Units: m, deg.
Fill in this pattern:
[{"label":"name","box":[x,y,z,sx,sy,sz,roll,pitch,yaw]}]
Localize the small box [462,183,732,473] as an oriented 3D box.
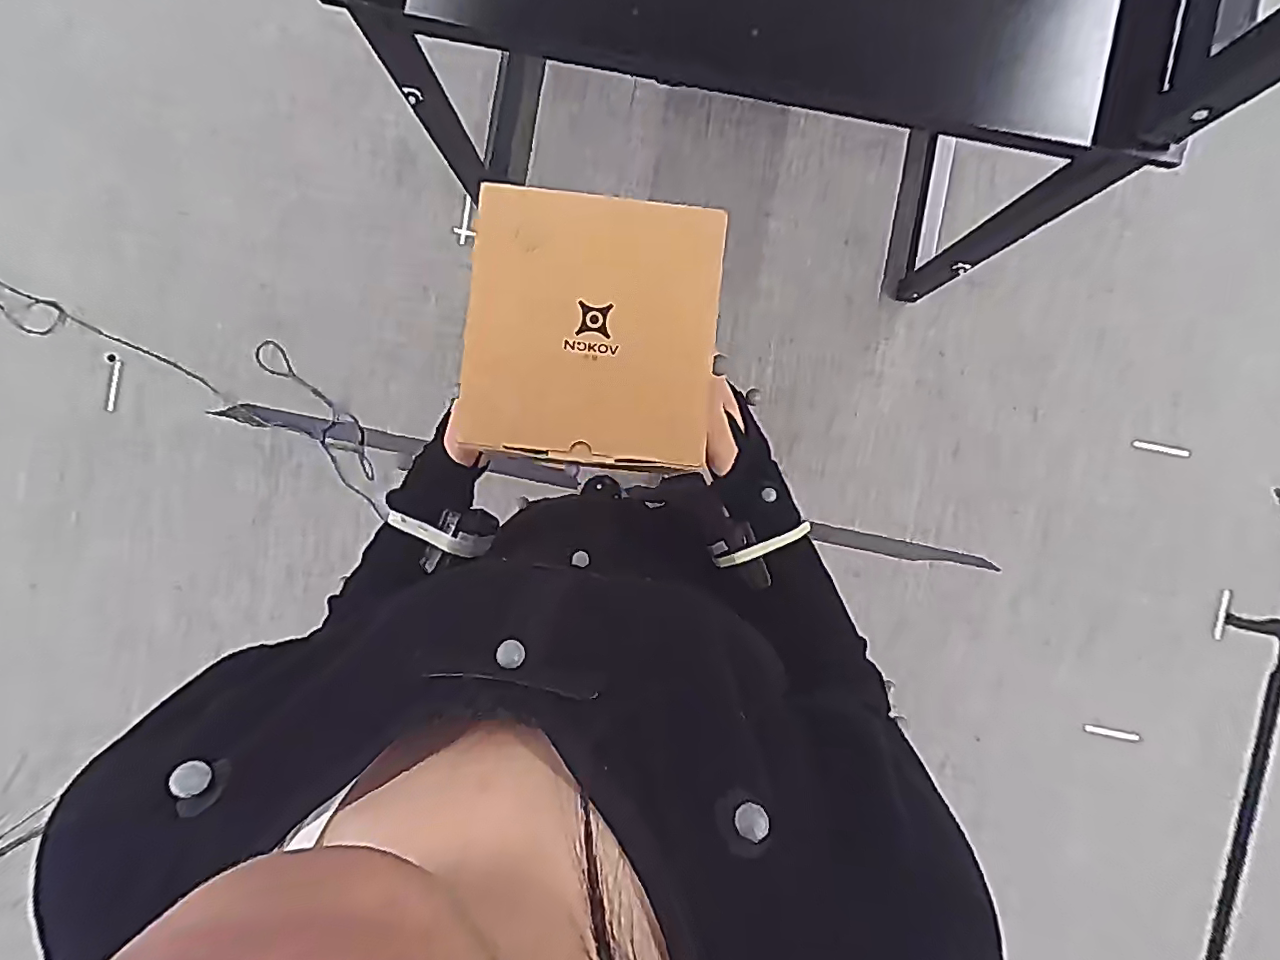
[{"label":"small box","box":[-0.031,-0.101,0.437,0.168,0.176,0.179,5,90,-2]}]
